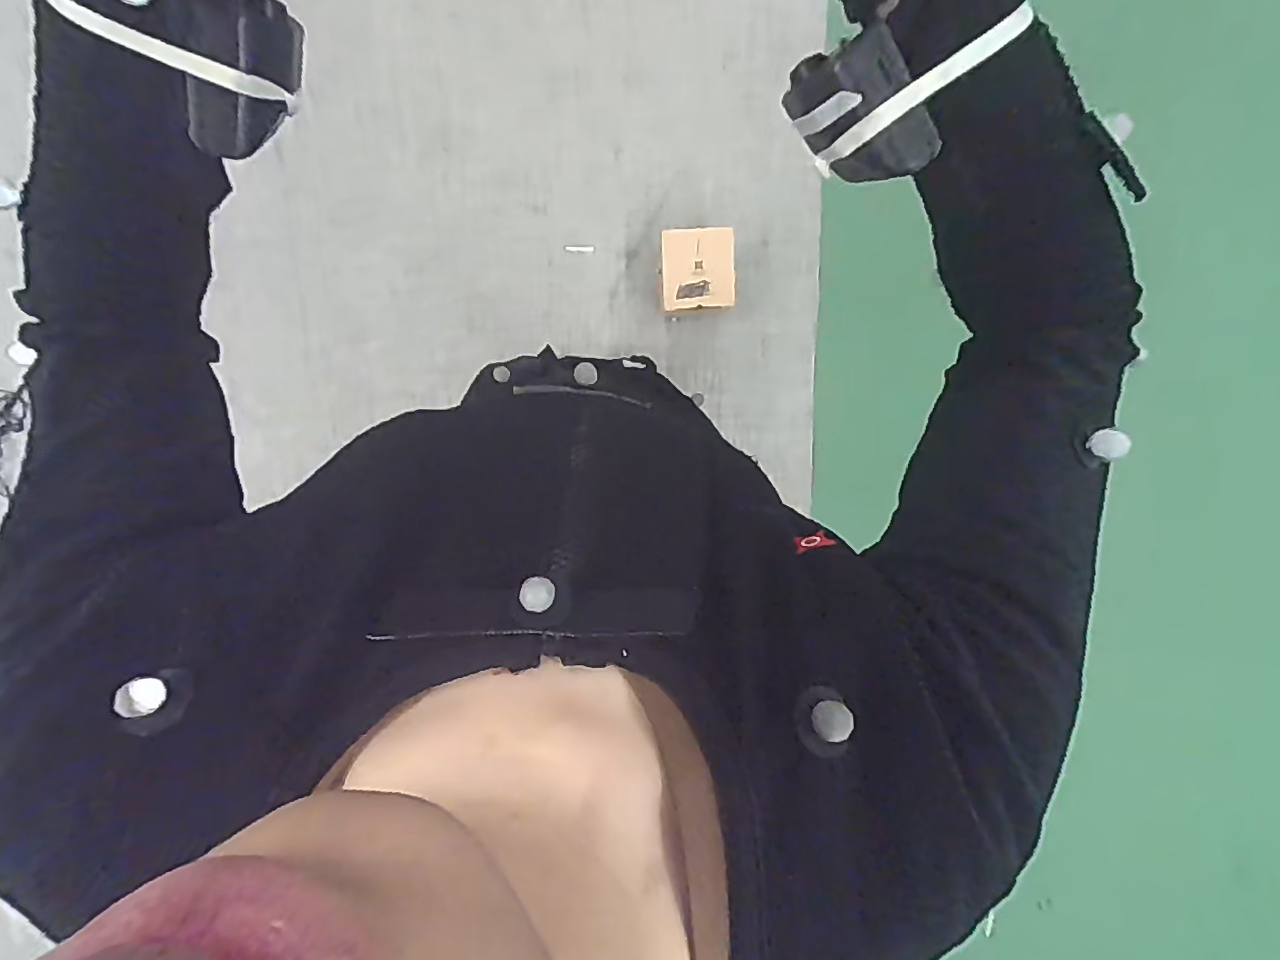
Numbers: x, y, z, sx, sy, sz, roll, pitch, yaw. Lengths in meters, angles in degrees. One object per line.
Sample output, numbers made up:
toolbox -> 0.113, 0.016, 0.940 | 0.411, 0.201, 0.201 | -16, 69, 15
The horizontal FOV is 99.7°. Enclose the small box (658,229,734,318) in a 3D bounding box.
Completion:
small box -> 0.132, -0.488, 1.302 | 0.168, 0.176, 0.179 | -3, 100, 0
